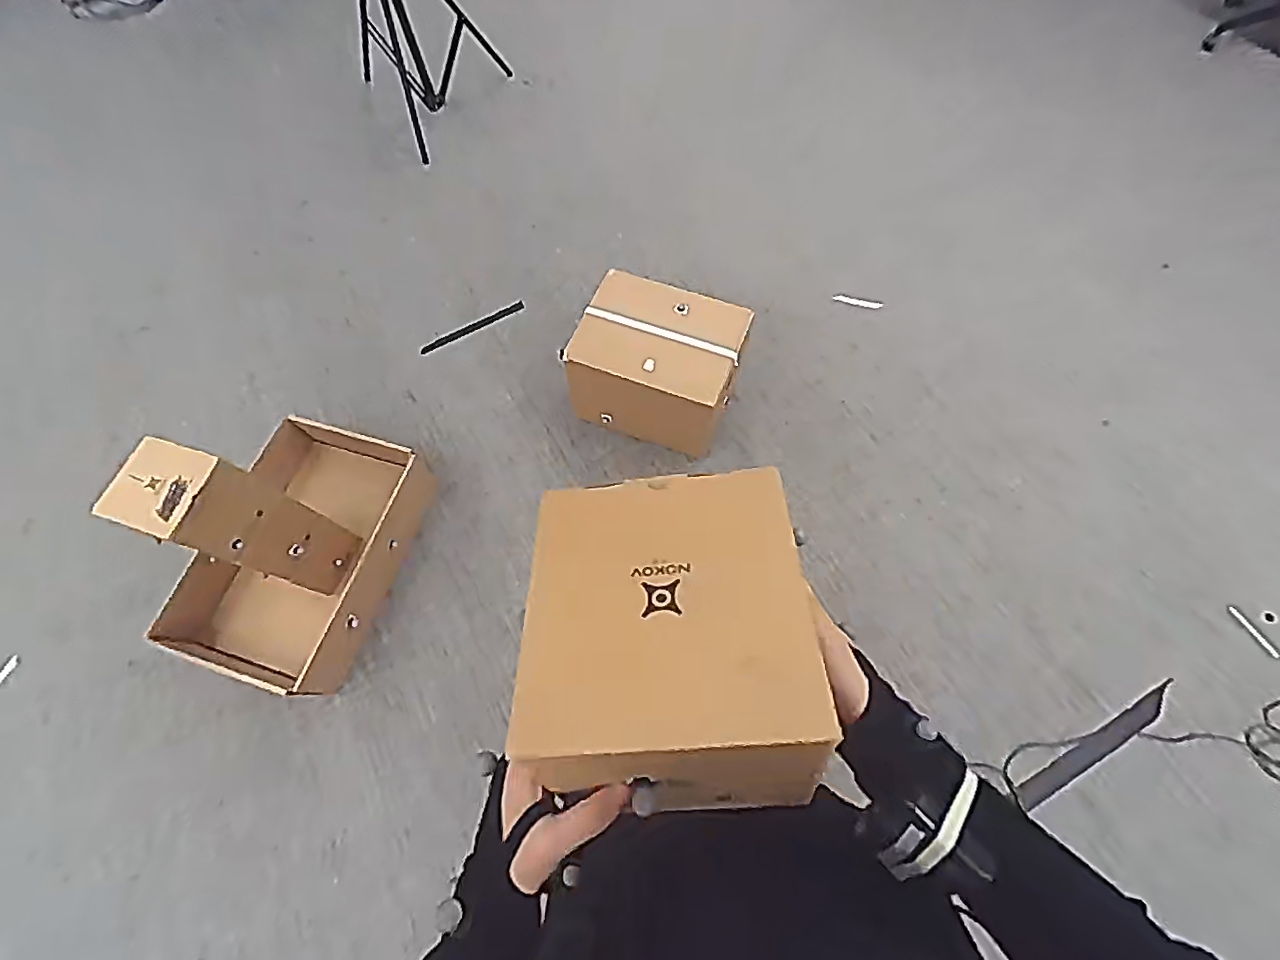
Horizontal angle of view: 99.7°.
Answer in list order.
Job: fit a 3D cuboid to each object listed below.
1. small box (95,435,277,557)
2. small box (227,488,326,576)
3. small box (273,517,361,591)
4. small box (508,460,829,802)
[{"bbox_3d":[-0.866,0.039,1.055,0.179,0.176,0.168,15,69,10],"label":"small box"},{"bbox_3d":[-0.855,0.102,1.207,0.179,0.176,0.168,17,70,8],"label":"small box"},{"bbox_3d":[-0.849,0.166,1.355,0.179,0.176,0.168,18,70,9],"label":"small box"},{"bbox_3d":[0.023,0.113,0.379,0.168,0.176,0.179,-7,48,5],"label":"small box"}]
